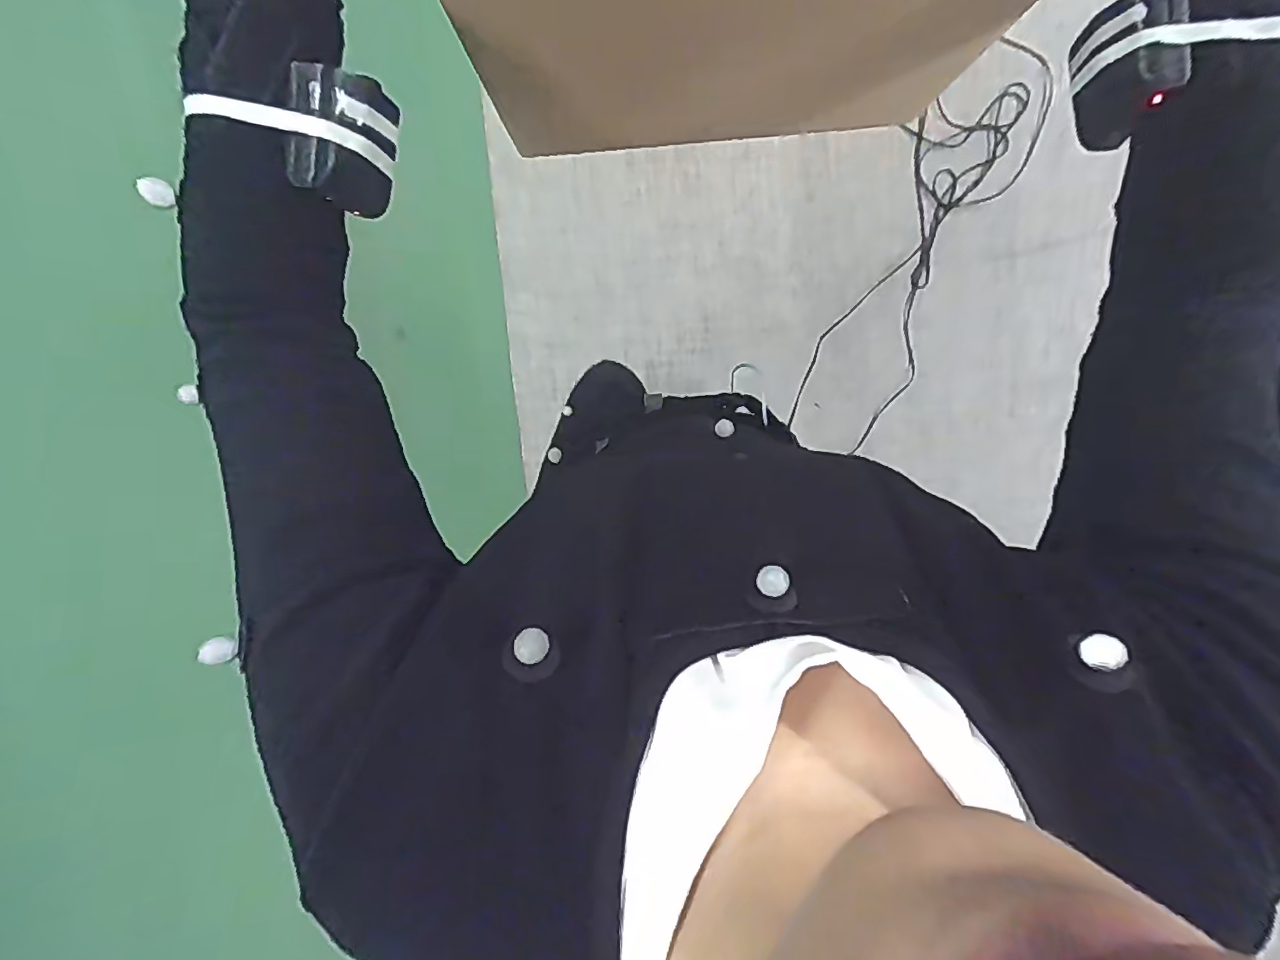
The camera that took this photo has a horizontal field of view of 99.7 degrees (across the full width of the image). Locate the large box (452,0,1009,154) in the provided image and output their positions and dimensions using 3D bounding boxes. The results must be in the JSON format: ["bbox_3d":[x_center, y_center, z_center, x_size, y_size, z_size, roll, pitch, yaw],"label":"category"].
[{"bbox_3d":[0.059,-0.475,0.380,0.408,0.320,0.320,-6,101,0],"label":"large box"}]
